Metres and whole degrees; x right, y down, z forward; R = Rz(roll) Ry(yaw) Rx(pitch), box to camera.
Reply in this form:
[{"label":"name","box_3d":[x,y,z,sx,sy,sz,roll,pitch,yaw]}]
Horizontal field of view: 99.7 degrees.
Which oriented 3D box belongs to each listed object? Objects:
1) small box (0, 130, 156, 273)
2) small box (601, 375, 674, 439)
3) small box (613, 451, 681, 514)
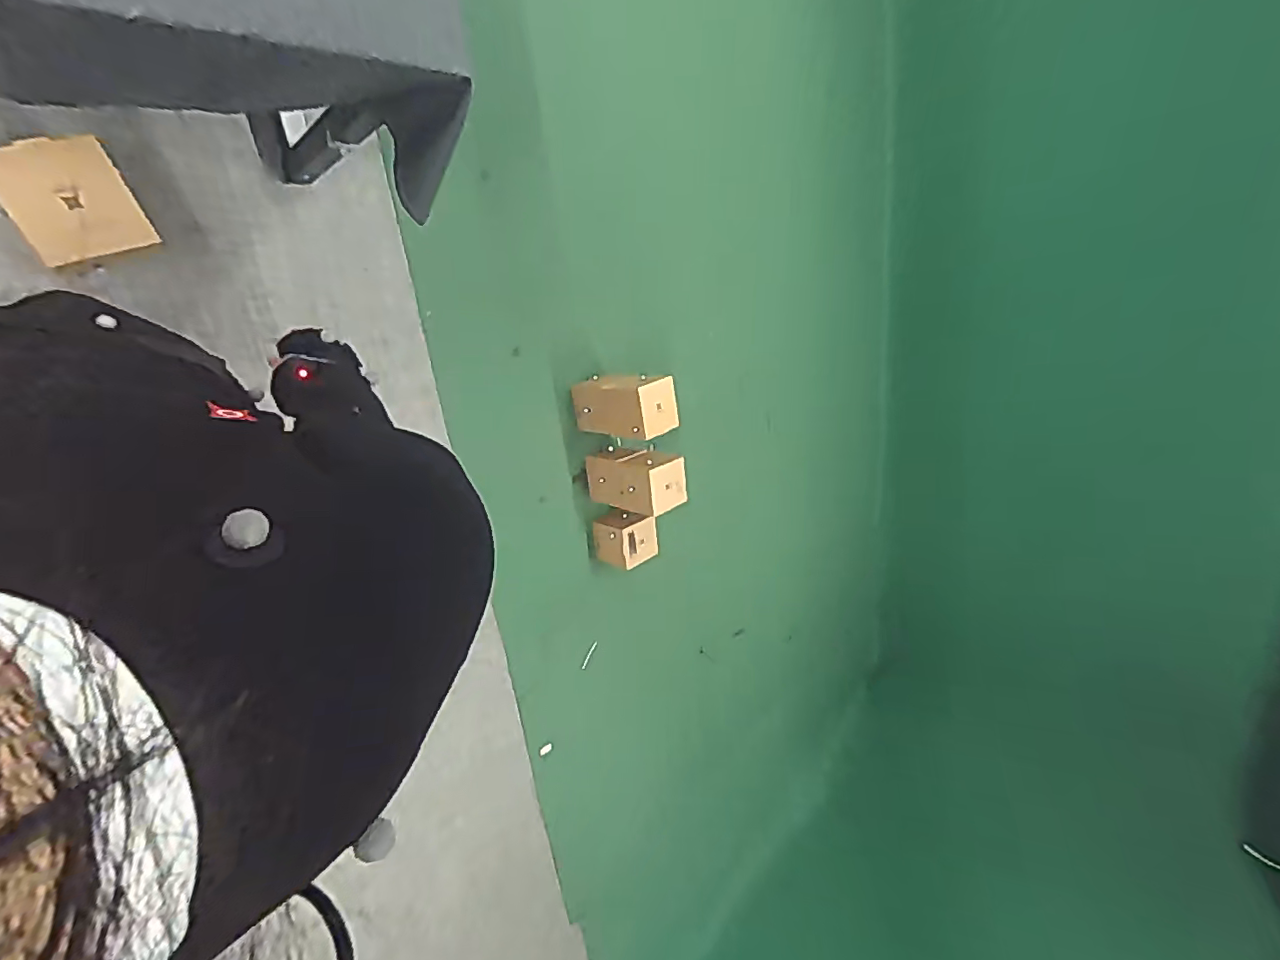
[{"label":"small box","box_3d":[-1.003,-0.480,0.945,0.168,0.176,0.179,-37,123,-34]},{"label":"small box","box_3d":[-0.012,-0.246,1.792,0.168,0.176,0.179,-28,118,-40]},{"label":"small box","box_3d":[0.021,0.004,1.879,0.179,0.176,0.168,-23,116,-41]}]
